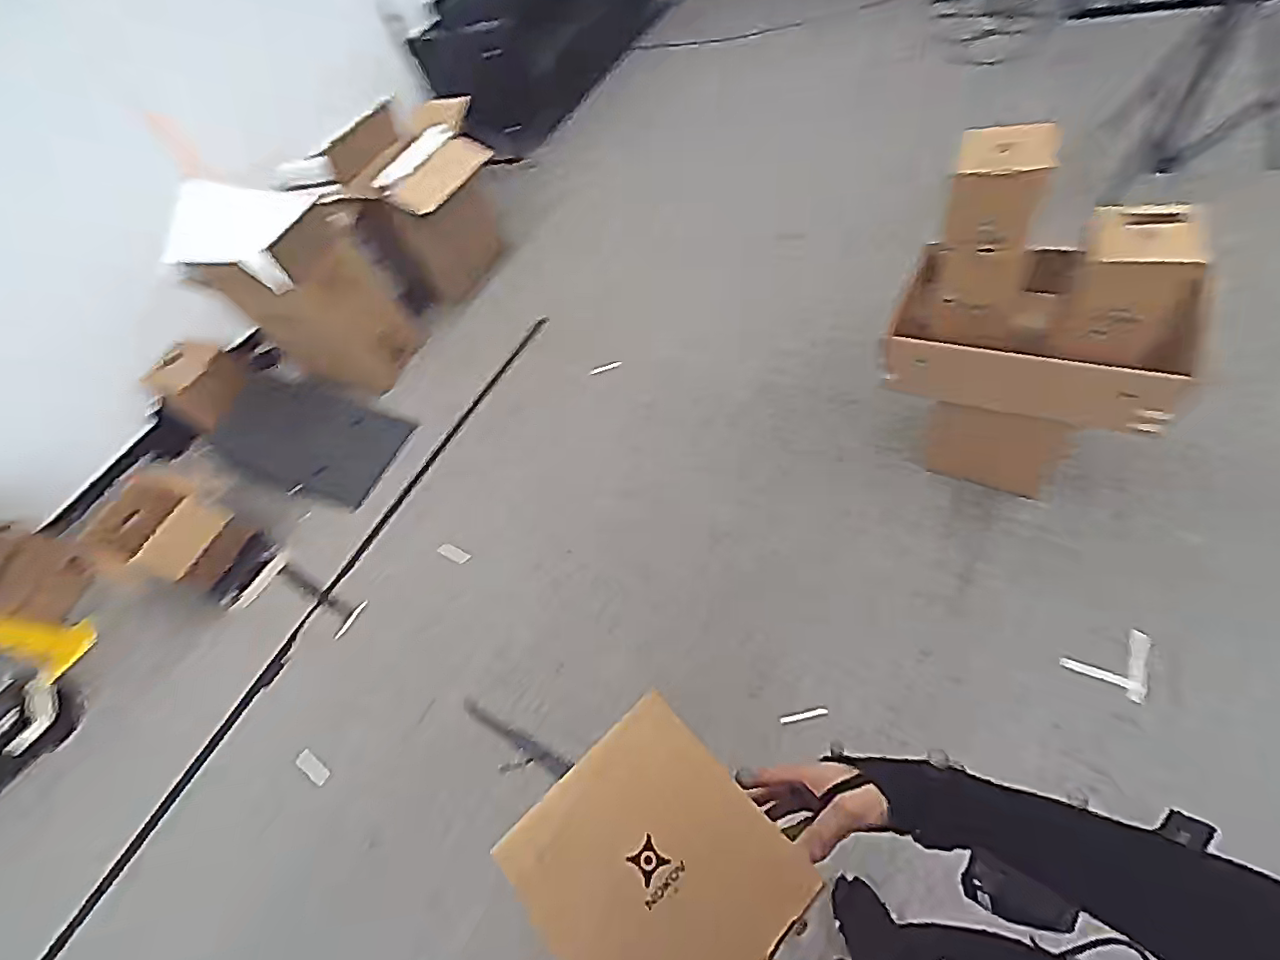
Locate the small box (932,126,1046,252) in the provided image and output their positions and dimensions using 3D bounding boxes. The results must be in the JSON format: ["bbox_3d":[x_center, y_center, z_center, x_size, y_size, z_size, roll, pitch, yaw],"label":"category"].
[{"bbox_3d":[0.728,-0.609,1.139,0.168,0.176,0.179,12,60,26],"label":"small box"}]

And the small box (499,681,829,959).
[{"bbox_3d":[0.017,0.304,0.446,0.168,0.176,0.179,-39,64,-17],"label":"small box"}]

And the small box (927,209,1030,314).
[{"bbox_3d":[0.781,-0.509,1.260,0.168,0.176,0.179,14,61,27],"label":"small box"}]
